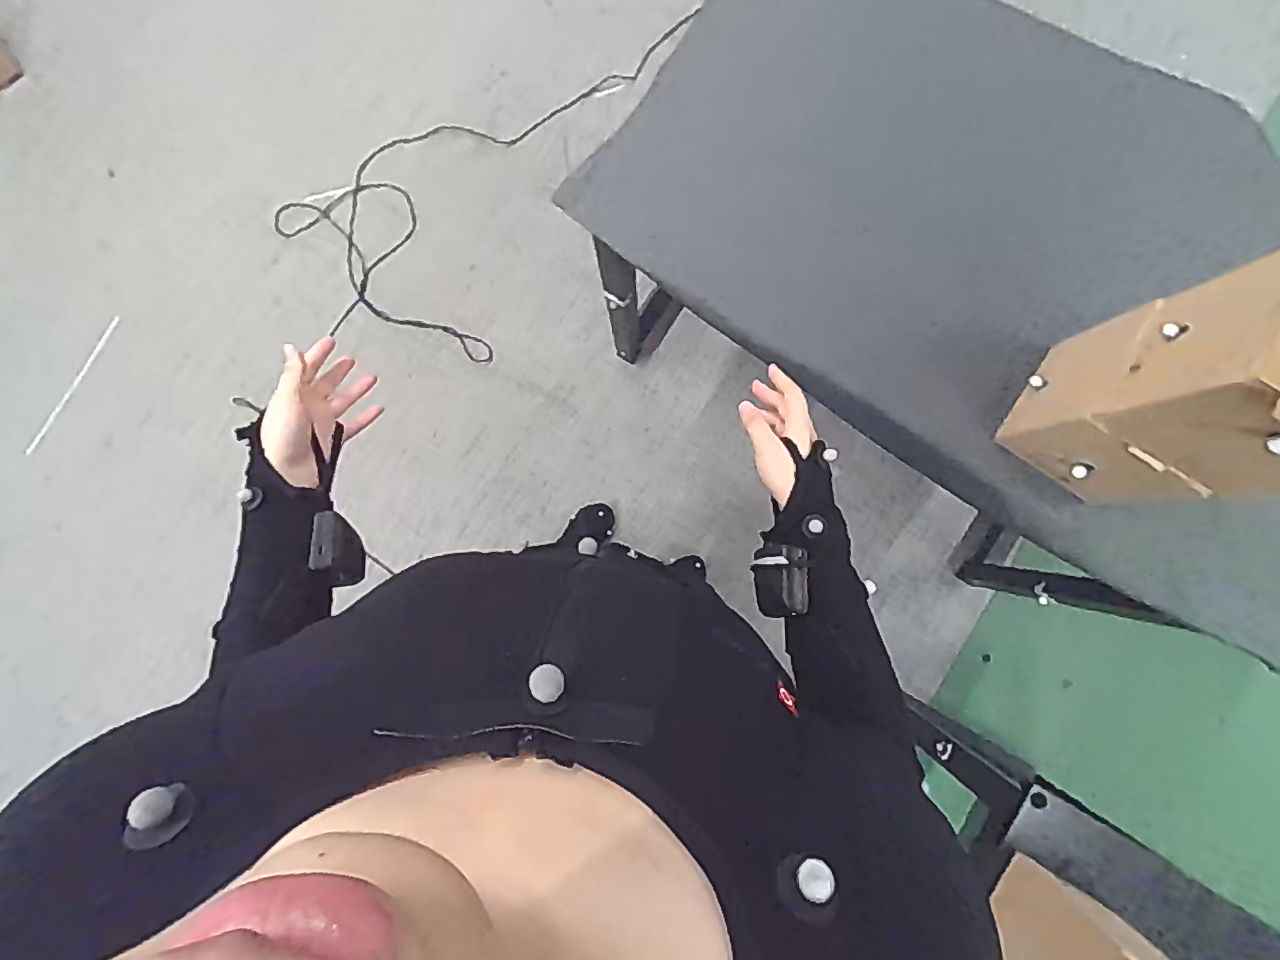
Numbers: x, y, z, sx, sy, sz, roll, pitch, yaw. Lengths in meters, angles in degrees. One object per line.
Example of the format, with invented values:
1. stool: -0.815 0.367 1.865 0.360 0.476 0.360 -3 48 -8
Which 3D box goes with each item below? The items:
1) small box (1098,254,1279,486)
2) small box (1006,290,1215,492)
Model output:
1. small box: 0.624 -0.105 0.529 0.179 0.176 0.168 33 86 4
2. small box: 0.619 -0.097 0.692 0.168 0.176 0.179 35 87 4
